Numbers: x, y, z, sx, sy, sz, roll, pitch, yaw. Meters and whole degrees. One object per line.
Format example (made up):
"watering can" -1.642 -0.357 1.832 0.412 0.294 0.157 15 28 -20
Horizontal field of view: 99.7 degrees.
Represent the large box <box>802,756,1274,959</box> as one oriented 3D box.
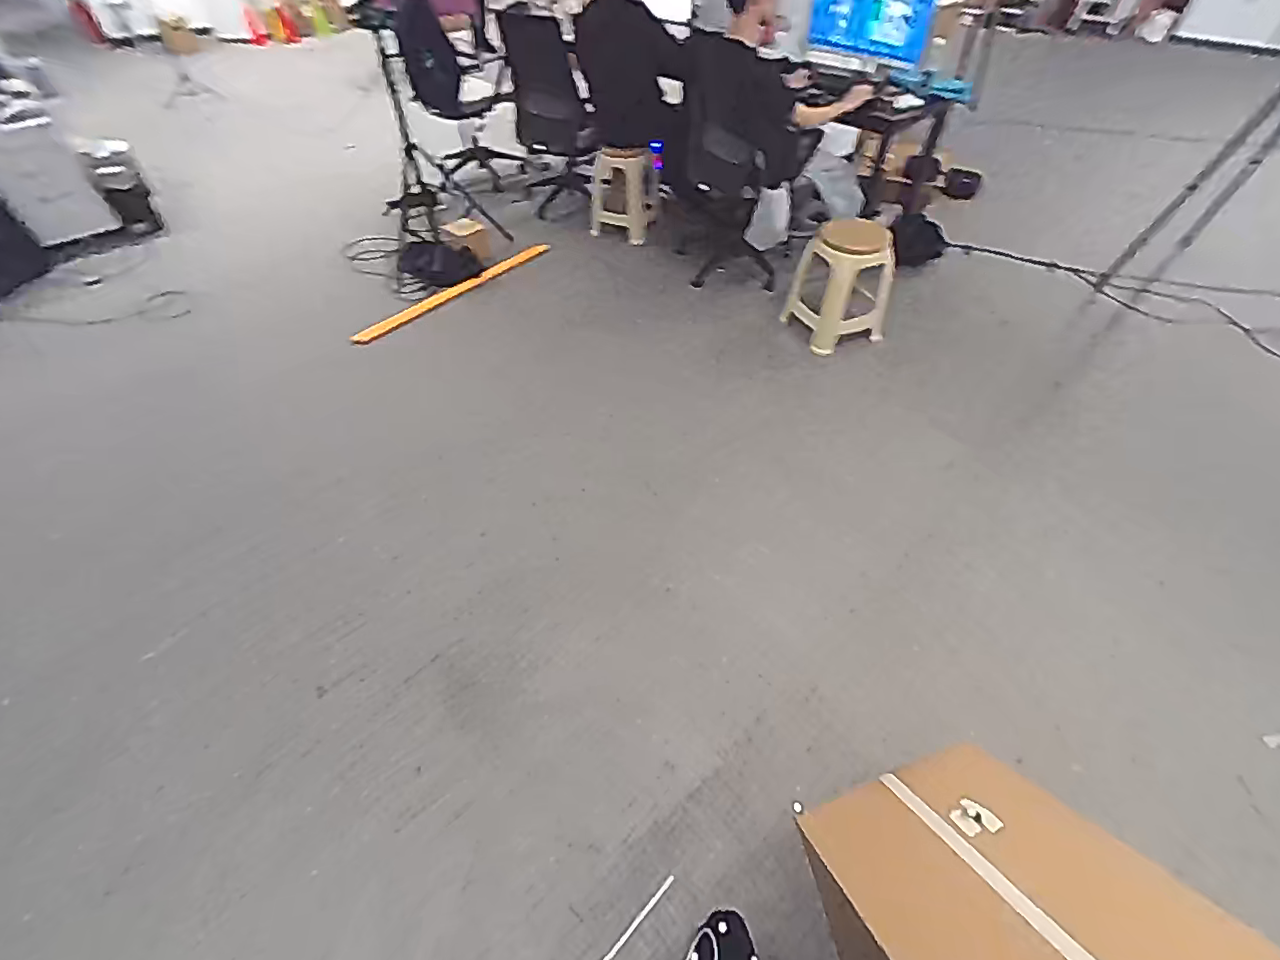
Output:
"large box" 0.465 0.632 0.657 0.320 0.408 0.320 -18 94 -8
